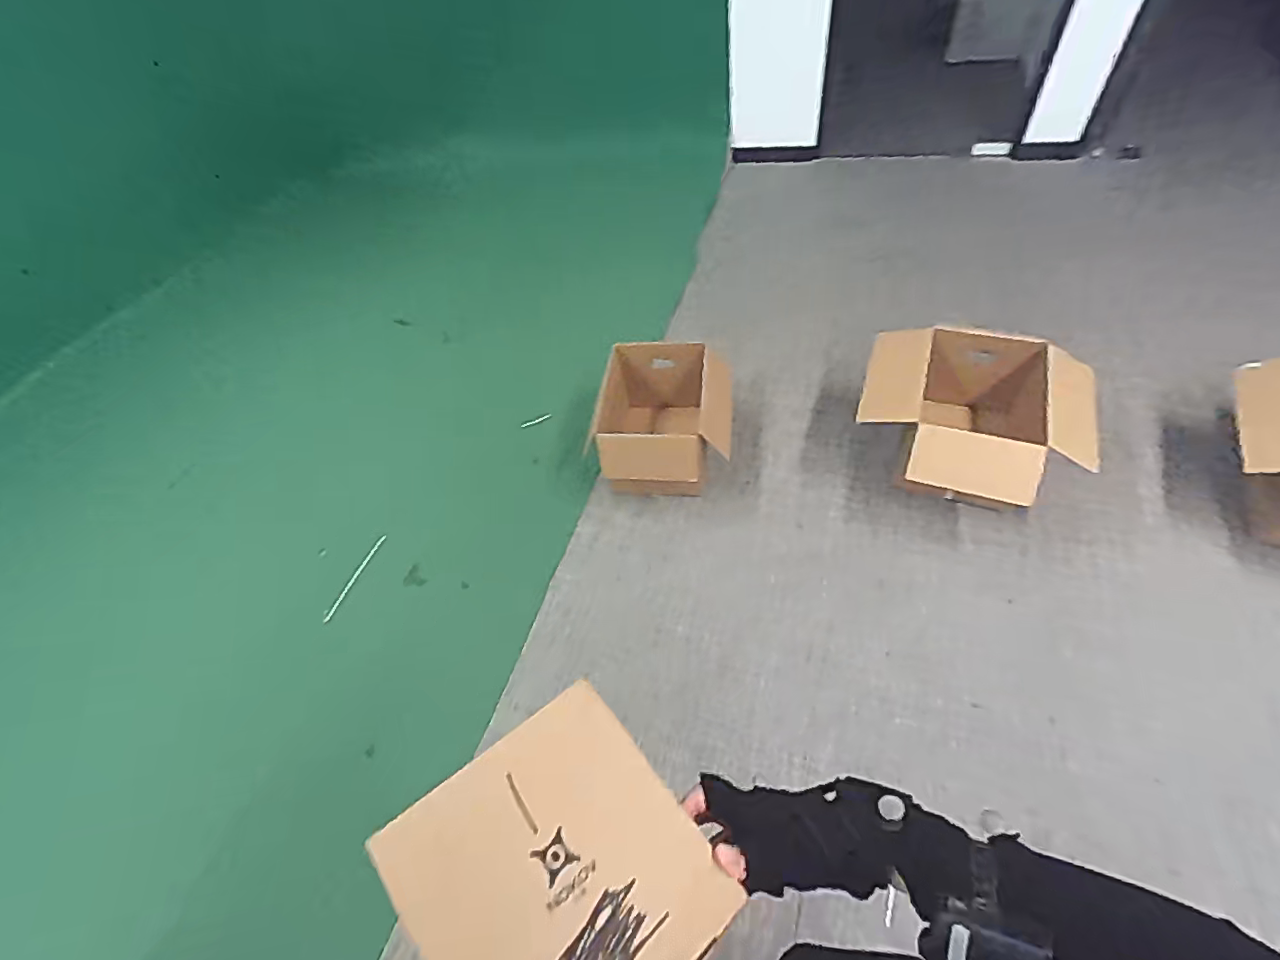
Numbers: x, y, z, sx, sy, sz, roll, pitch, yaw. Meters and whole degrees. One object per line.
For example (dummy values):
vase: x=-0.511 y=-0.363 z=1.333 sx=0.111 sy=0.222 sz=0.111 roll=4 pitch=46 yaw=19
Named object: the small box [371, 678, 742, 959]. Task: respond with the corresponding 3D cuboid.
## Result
small box: x=-0.062 y=0.285 z=0.392 sx=0.168 sy=0.176 sz=0.179 roll=-28 pitch=61 yaw=-30
